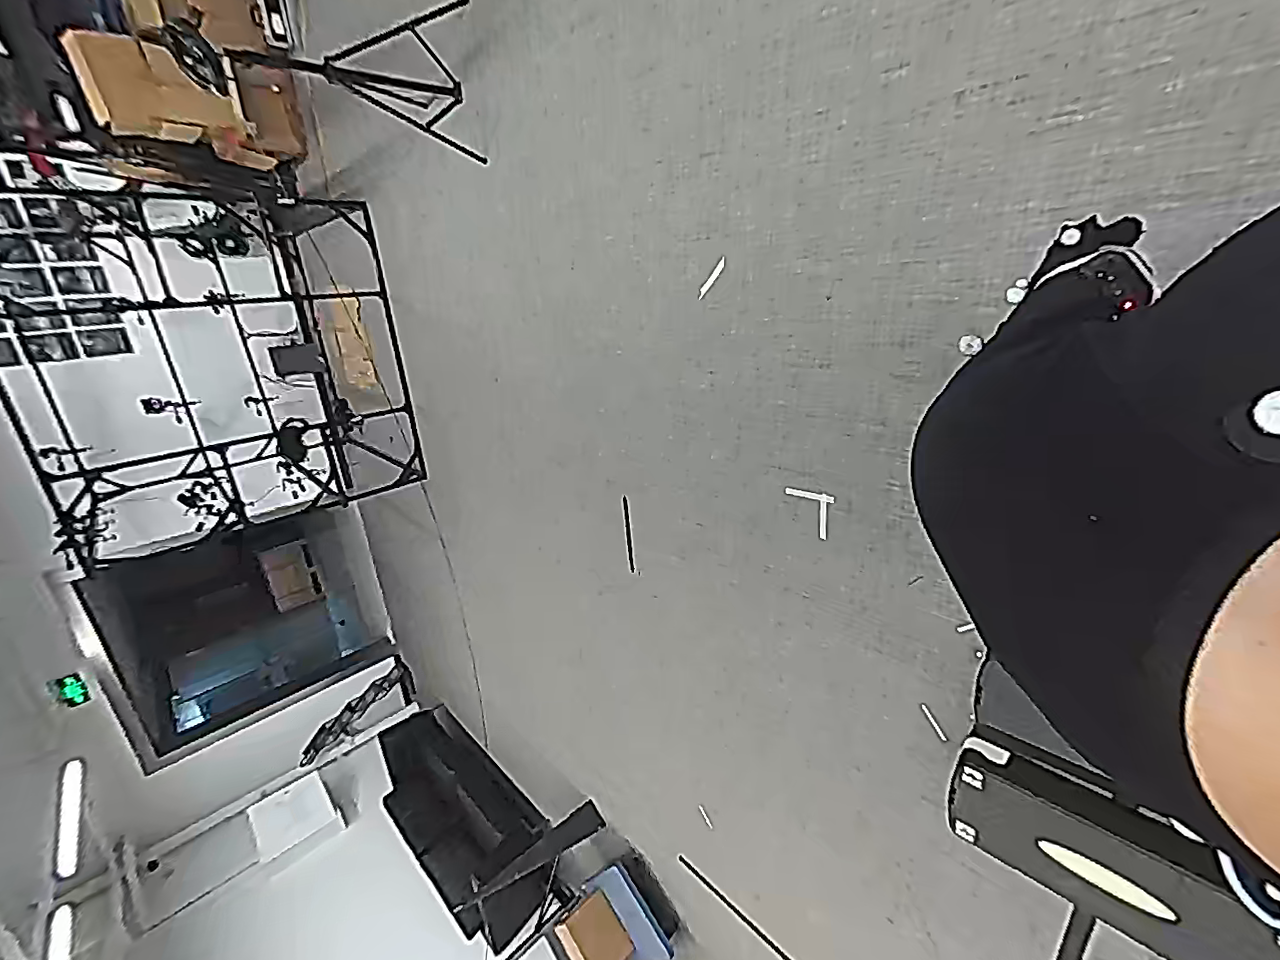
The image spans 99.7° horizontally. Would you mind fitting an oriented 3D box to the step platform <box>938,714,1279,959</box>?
[{"bbox_3d":[1.128,0.891,1.343,0.684,0.204,0.286,16,118,46],"label":"step platform"}]
